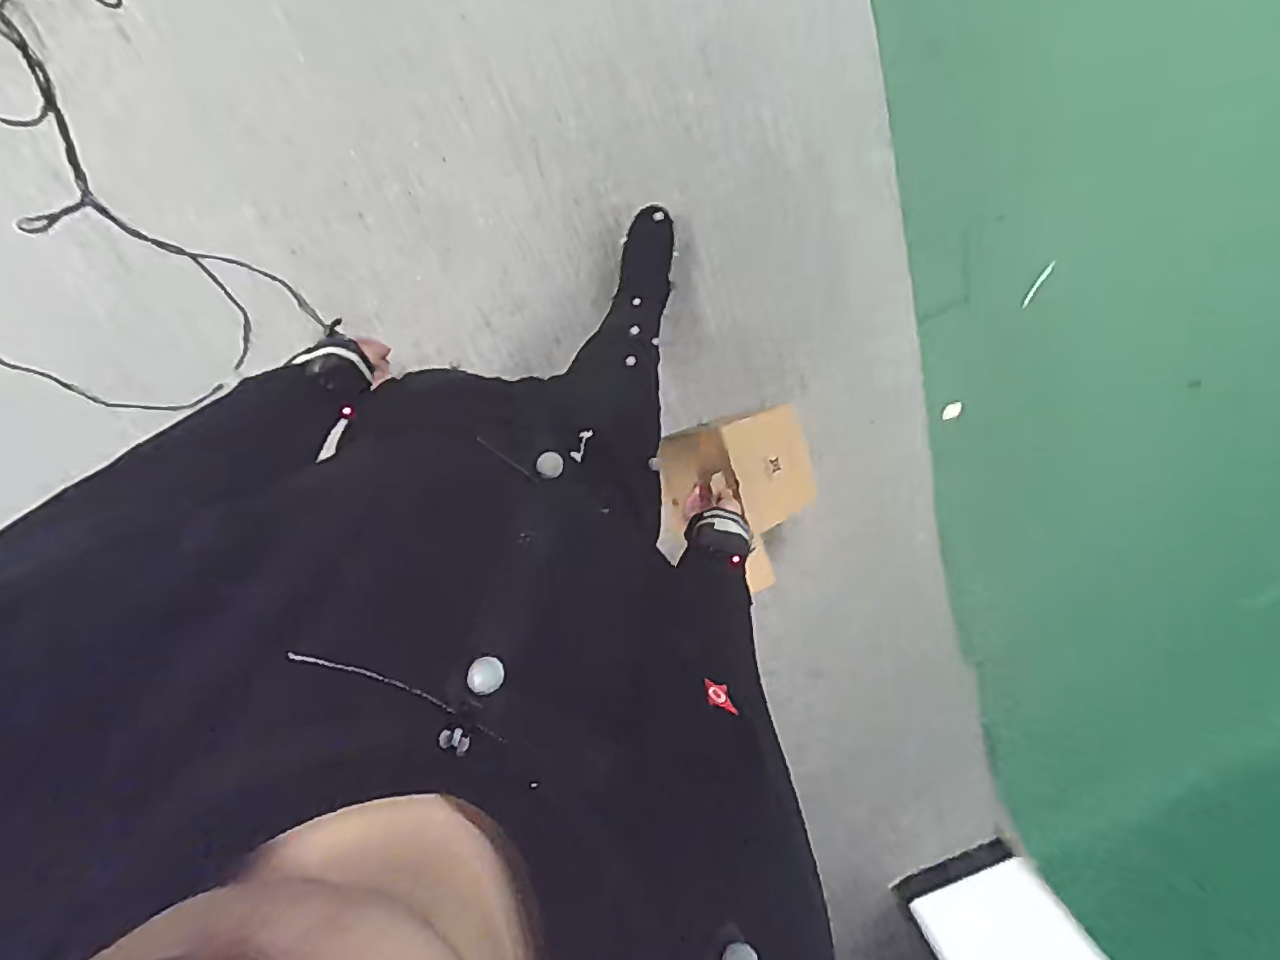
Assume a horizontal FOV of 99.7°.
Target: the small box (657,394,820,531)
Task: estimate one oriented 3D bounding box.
[{"bbox_3d":[0.148,-0.022,0.858,0.179,0.176,0.168,-24,100,-37],"label":"small box"}]
